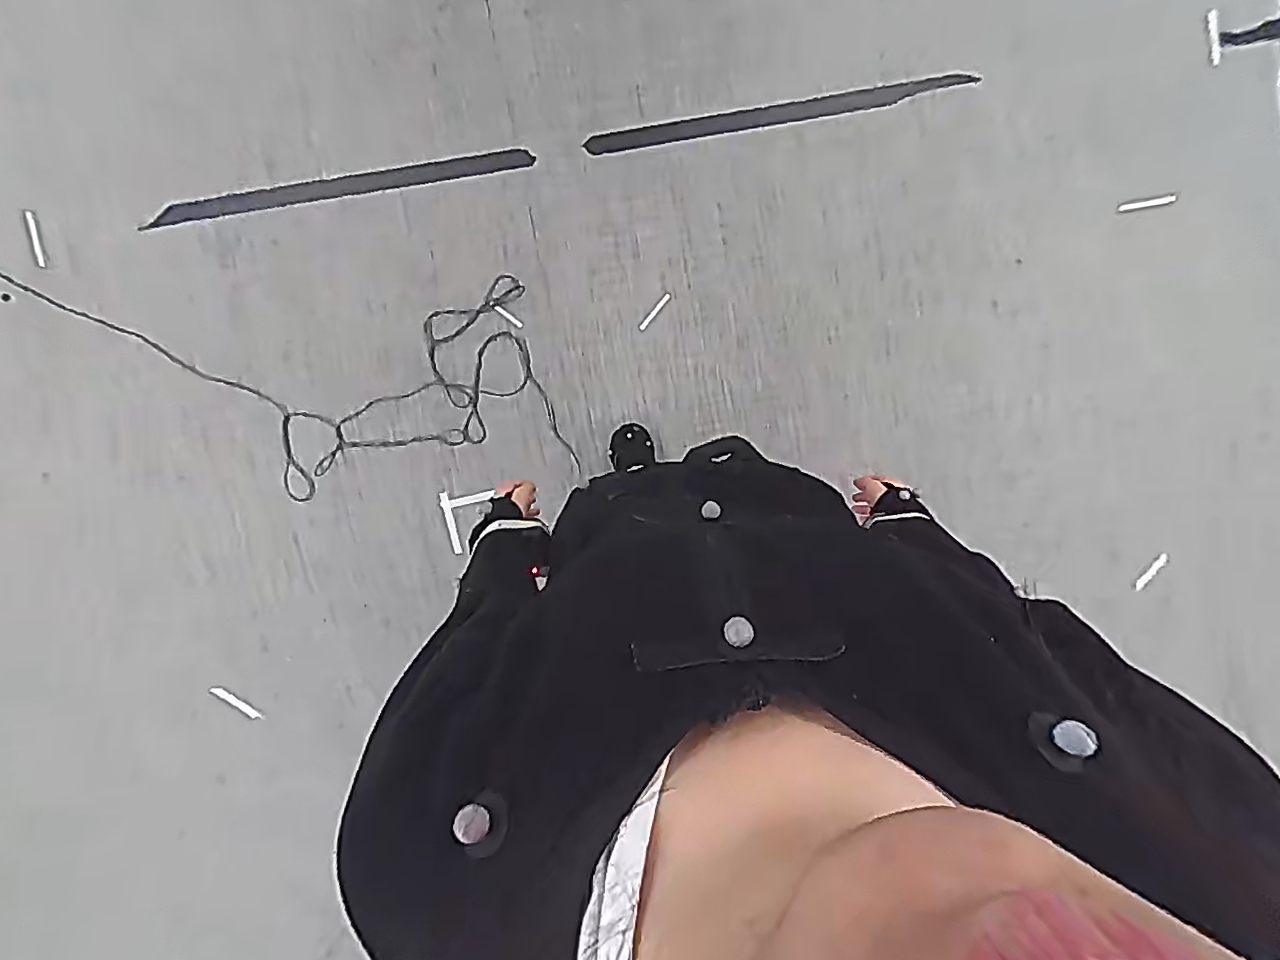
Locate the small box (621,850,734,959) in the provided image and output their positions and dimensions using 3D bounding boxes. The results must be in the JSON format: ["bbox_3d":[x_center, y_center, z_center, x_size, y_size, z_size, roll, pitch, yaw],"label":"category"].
[{"bbox_3d":[0.060,0.741,0.879,0.168,0.176,0.179,-9,95,-1],"label":"small box"}]
